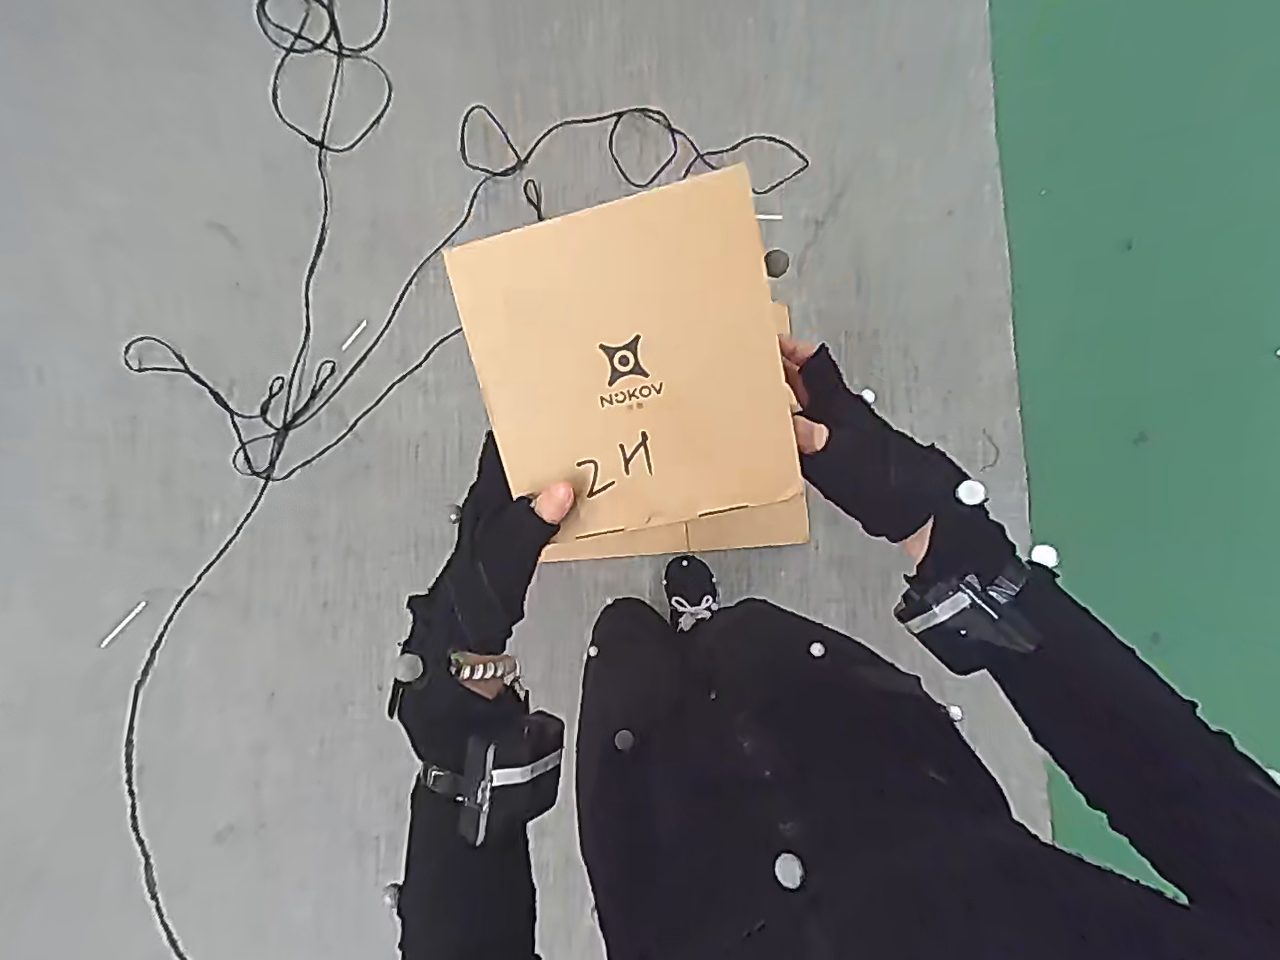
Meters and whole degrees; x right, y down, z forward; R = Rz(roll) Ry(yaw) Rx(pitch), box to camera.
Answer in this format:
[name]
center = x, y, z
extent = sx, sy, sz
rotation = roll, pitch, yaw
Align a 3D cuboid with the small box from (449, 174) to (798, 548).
[small box]
center = 0.001, -0.073, 0.374
extent = 0.168, 0.176, 0.179
rotation = -11, 102, 10
